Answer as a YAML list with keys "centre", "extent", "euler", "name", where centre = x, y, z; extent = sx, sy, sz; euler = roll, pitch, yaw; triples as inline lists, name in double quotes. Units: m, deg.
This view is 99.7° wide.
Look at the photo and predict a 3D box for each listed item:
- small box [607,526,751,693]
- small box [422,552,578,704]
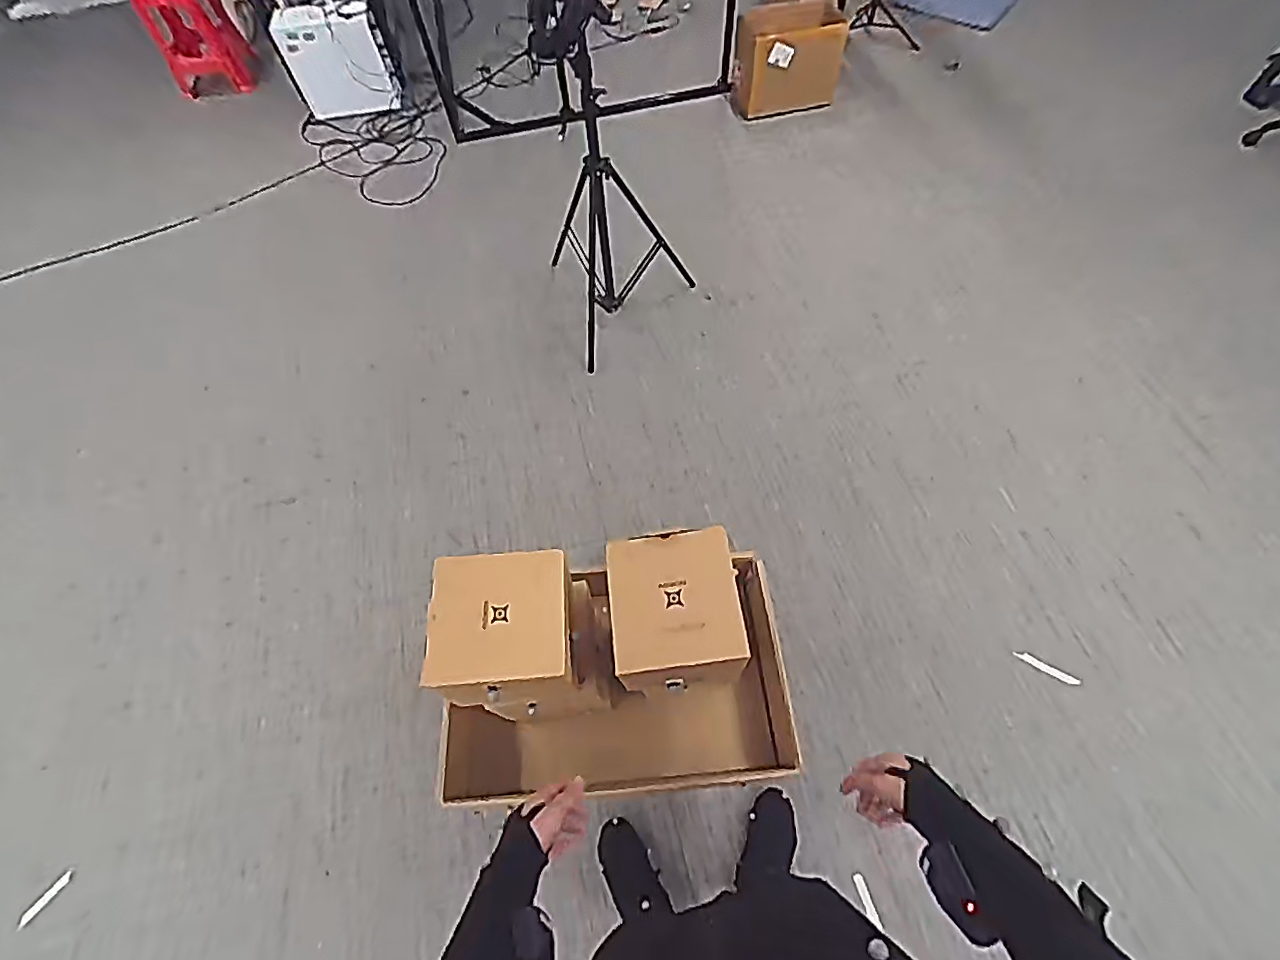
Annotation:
- centre: [0.049, 0.185, 0.754]
  extent: [0.168, 0.176, 0.179]
  euler: [-8, 61, 1]
  name: "small box"
- centre: [-0.180, 0.210, 0.754]
  extent: [0.179, 0.176, 0.168]
  euler: [-5, 61, -2]
  name: "small box"
